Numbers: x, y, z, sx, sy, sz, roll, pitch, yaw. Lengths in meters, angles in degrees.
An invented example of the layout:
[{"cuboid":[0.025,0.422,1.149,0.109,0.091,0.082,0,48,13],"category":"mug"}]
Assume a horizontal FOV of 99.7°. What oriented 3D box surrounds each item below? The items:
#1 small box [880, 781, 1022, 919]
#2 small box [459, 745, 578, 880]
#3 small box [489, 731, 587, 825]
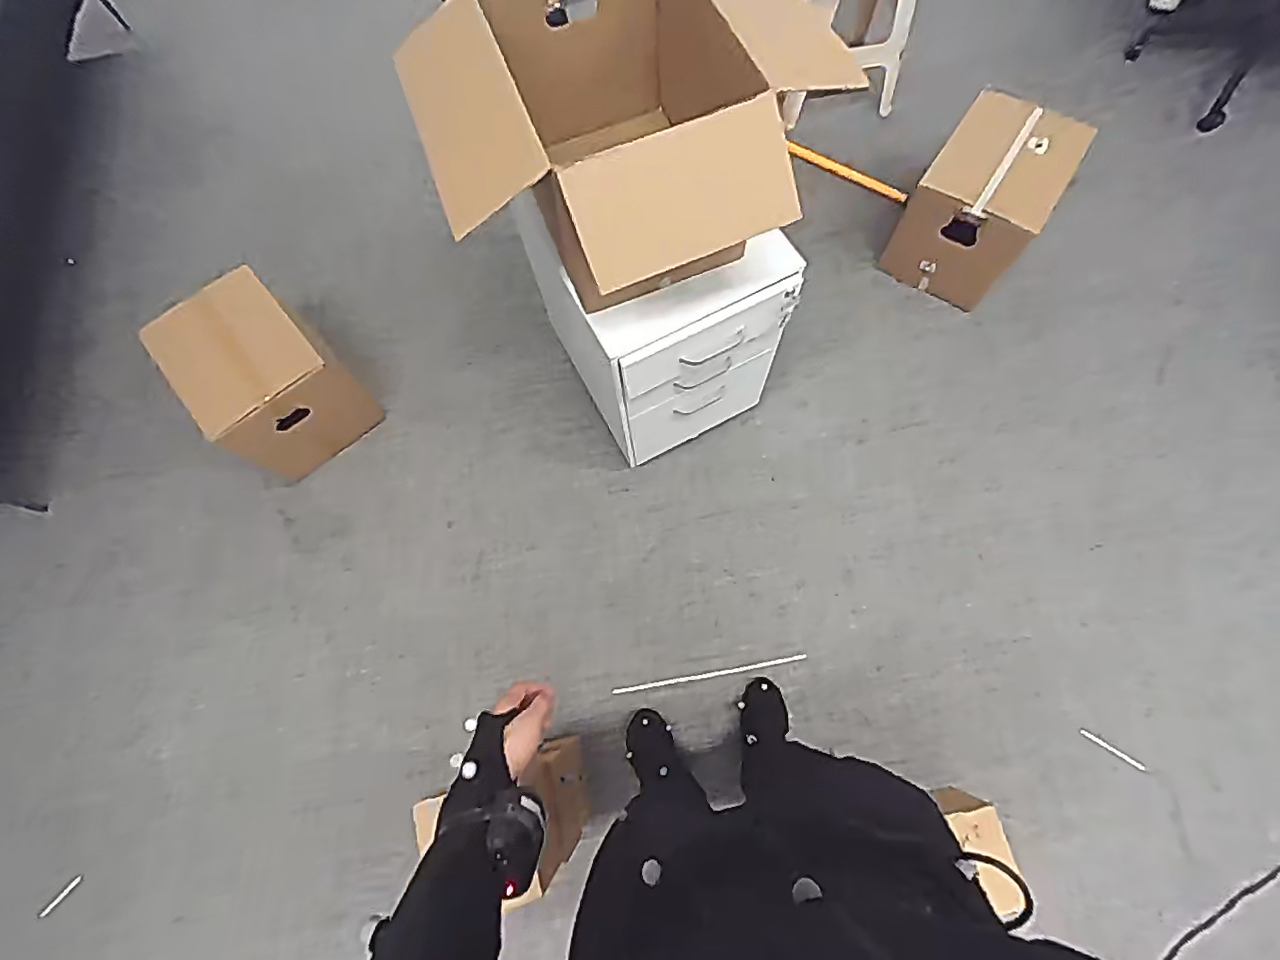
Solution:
[{"cuboid":[0.627,0.750,1.113,0.168,0.176,0.179,-13,72,-1],"category":"small box"},{"cuboid":[-0.224,0.626,1.041,0.179,0.176,0.168,-15,70,0],"category":"small box"},{"cuboid":[-0.217,0.668,1.199,0.179,0.176,0.168,-12,71,-1],"category":"small box"}]
